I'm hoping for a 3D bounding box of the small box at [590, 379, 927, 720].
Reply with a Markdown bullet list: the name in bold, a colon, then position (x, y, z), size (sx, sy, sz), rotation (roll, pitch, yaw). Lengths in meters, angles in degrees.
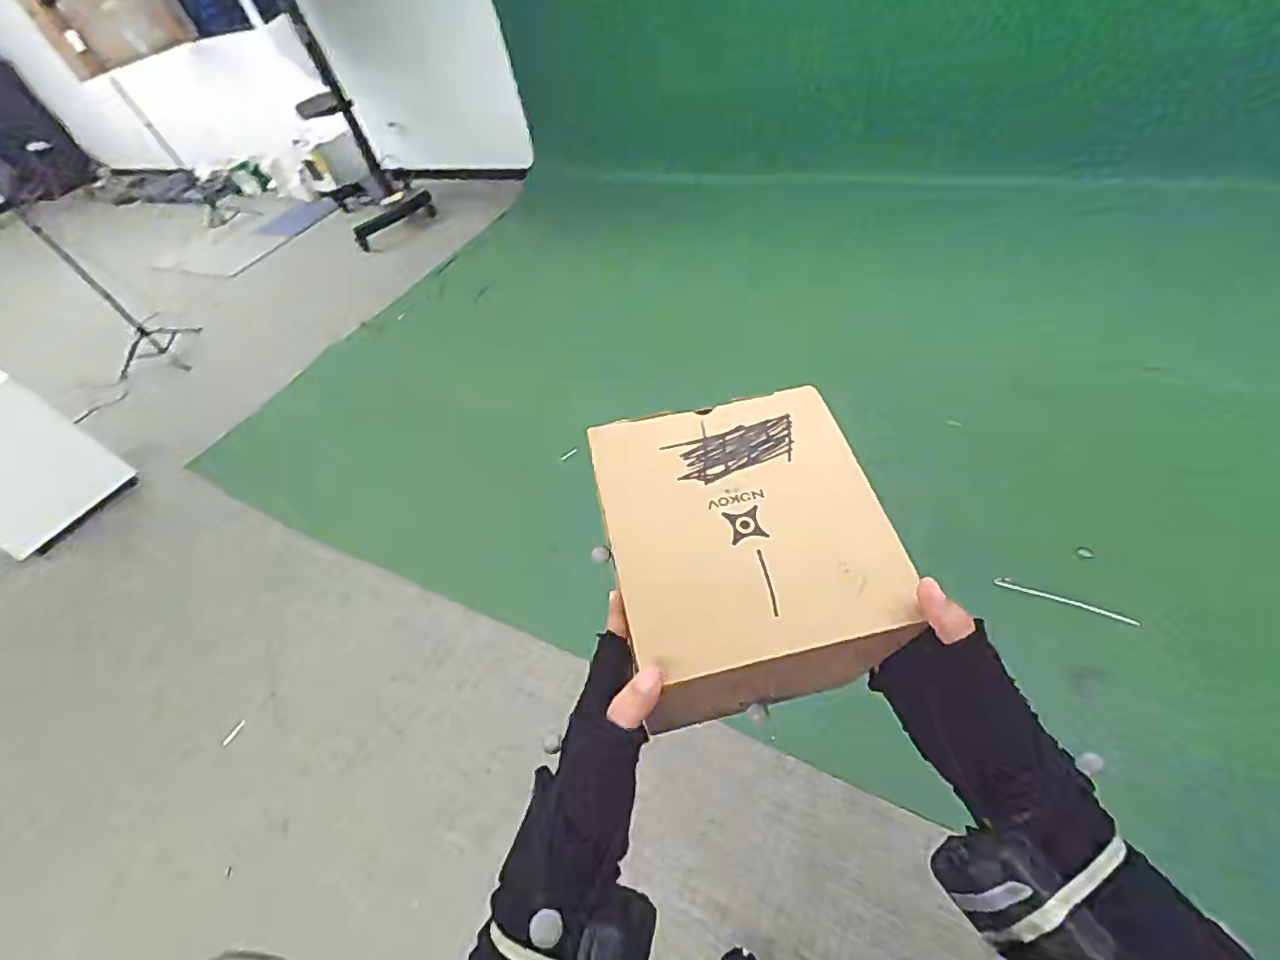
- **small box**: position (0.063, 0.056, 0.401), size (0.168, 0.176, 0.179), rotation (-12, 57, -6)
